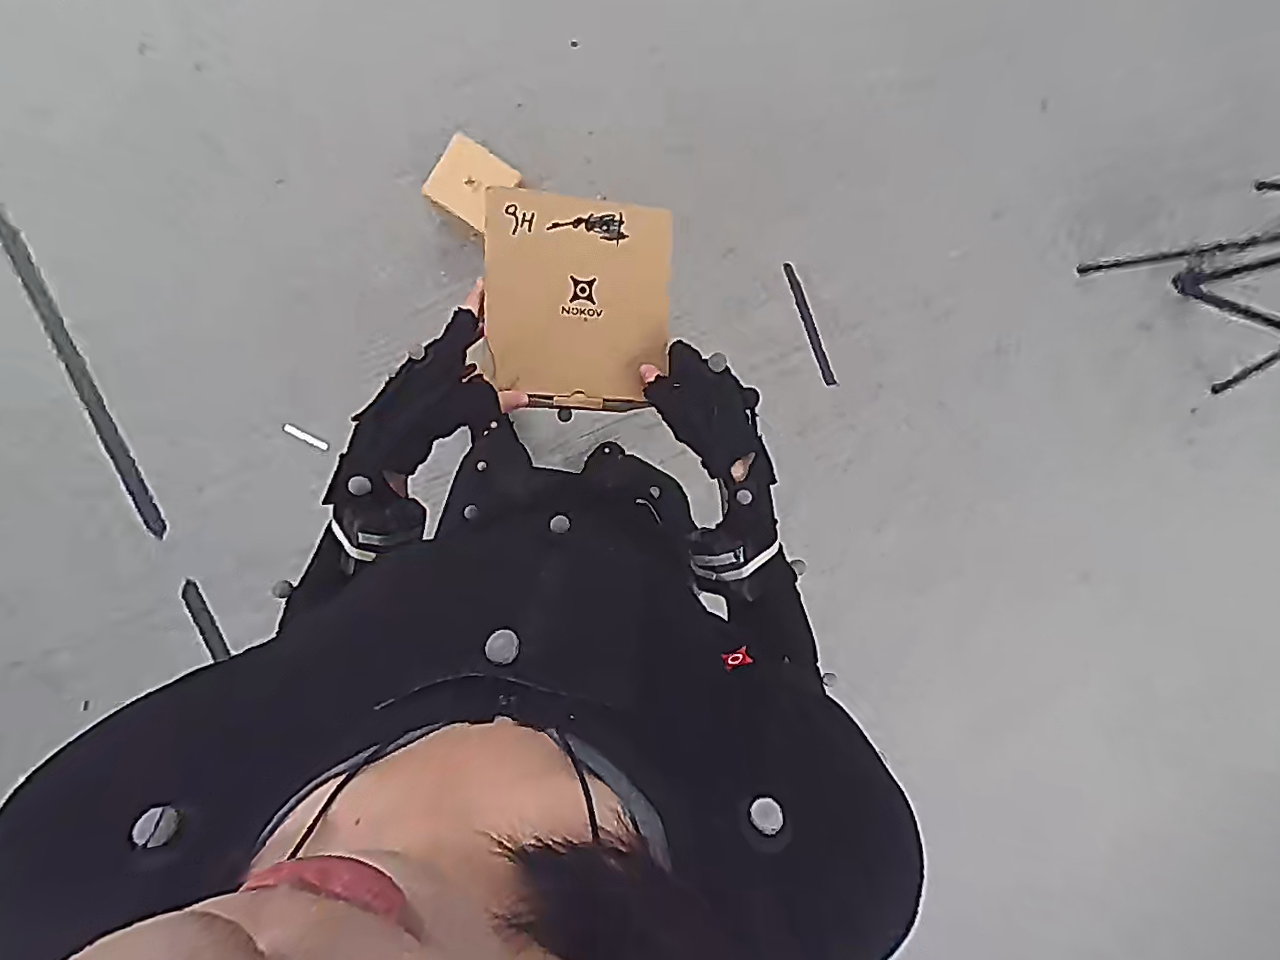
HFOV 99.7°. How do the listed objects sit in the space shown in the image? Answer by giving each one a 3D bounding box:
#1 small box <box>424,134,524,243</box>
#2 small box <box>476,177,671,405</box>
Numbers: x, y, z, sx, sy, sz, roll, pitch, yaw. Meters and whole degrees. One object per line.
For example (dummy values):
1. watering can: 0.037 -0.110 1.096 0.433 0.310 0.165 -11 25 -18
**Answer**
1. small box: -0.390 -0.693 1.333 0.179 0.176 0.168 32 91 -6
2. small box: -0.074 -0.166 0.539 0.168 0.176 0.179 0 96 -15
